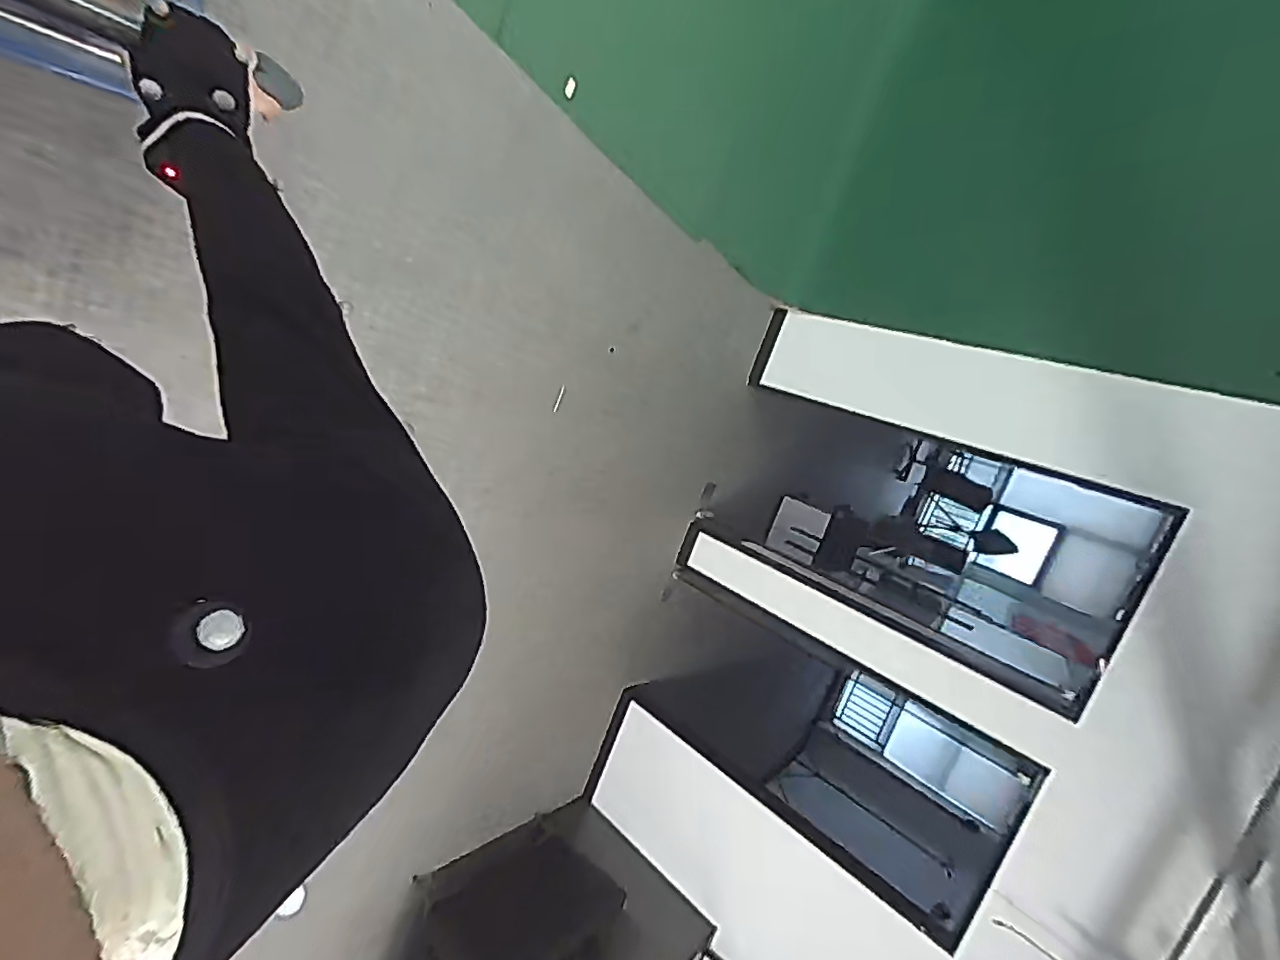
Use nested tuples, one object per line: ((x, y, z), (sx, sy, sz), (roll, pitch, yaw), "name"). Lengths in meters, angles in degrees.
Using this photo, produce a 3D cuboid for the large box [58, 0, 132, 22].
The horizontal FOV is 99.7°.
((-0.824, -0.881, 0.644), (0.320, 0.320, 0.408), (-5, 114, -50), "large box")
